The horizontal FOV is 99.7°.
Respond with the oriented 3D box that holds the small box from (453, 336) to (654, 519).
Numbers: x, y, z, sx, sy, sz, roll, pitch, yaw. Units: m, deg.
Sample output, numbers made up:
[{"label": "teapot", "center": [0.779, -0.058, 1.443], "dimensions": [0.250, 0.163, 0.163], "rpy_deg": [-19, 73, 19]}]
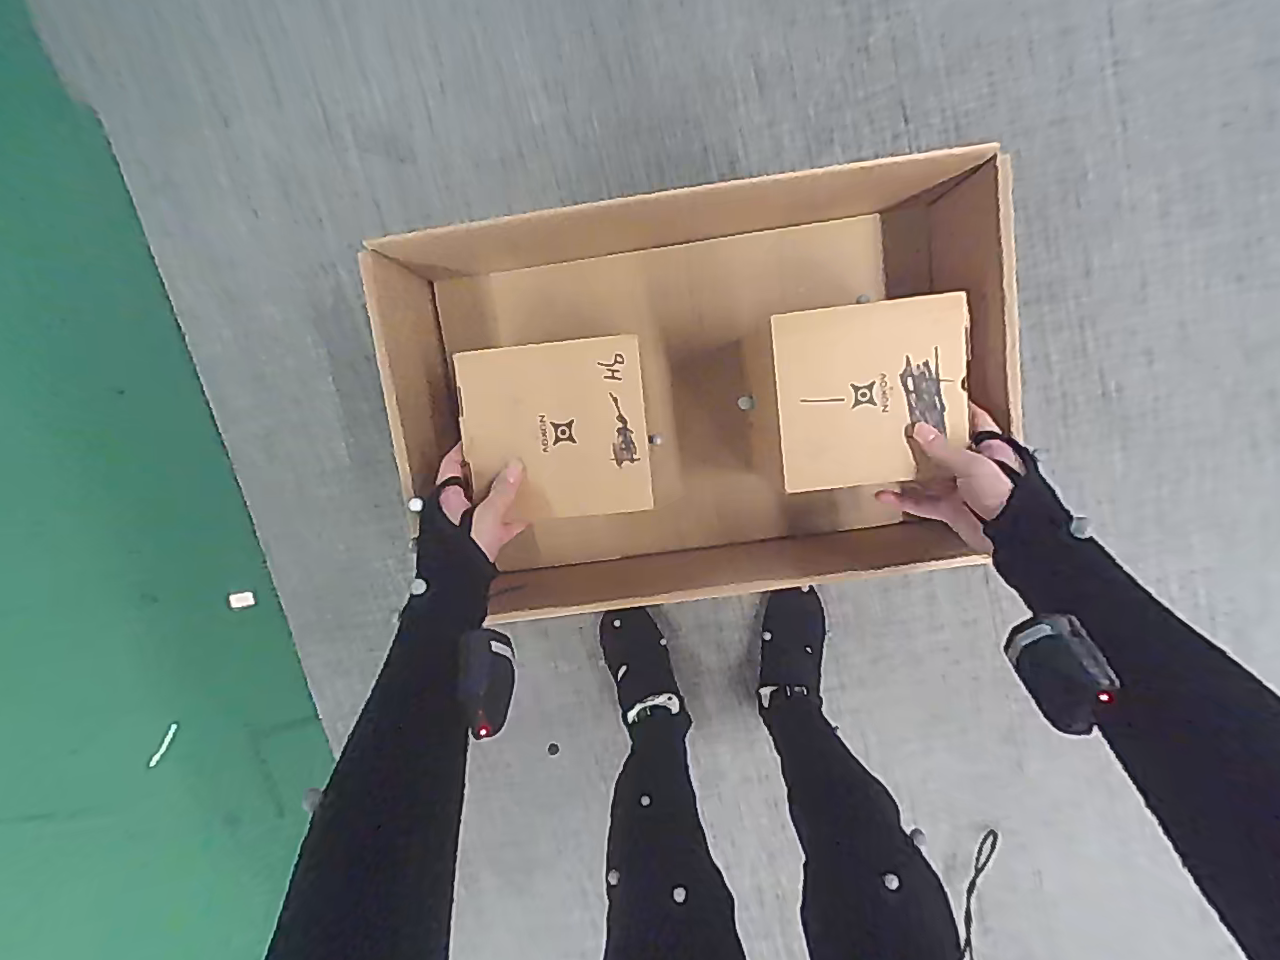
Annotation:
[{"label": "small box", "center": [-0.080, -0.056, 0.591], "dimensions": [0.179, 0.176, 0.168], "rpy_deg": [-5, 97, 4]}]
